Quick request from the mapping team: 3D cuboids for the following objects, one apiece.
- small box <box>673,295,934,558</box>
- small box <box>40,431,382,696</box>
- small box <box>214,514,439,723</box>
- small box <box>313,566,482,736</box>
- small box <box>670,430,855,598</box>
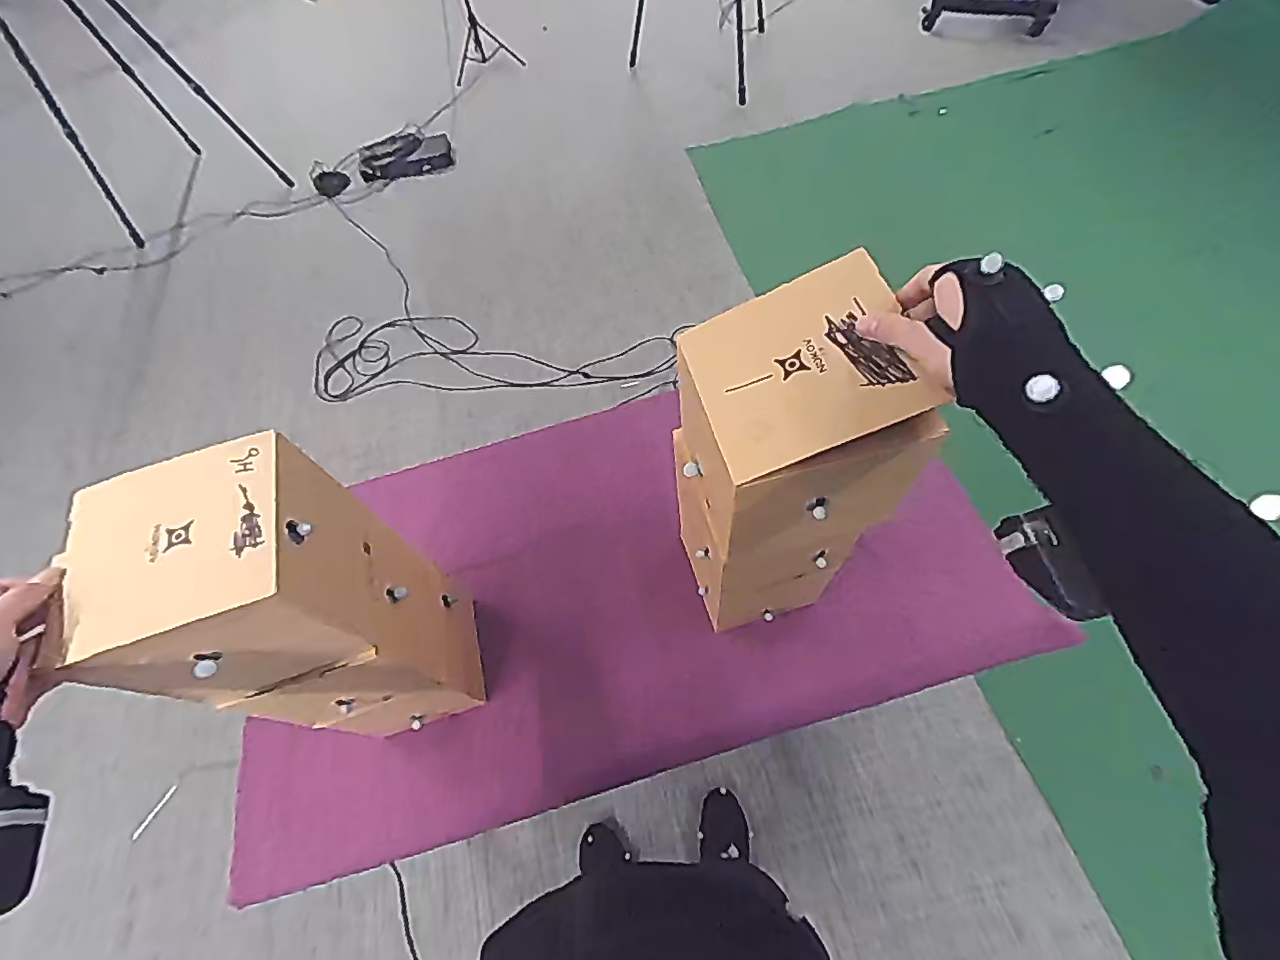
[{"bbox_3d":[0.137,-0.043,0.526,0.179,0.176,0.168,-15,60,-1],"label":"small box"},{"bbox_3d":[-0.375,0.088,0.511,0.179,0.176,0.168,-19,60,-4],"label":"small box"},{"bbox_3d":[-0.360,0.172,0.651,0.168,0.176,0.179,-17,60,-5],"label":"small box"},{"bbox_3d":[-0.345,0.255,0.790,0.168,0.176,0.179,-17,60,-3],"label":"small box"},{"bbox_3d":[0.143,0.032,0.671,0.168,0.176,0.179,-17,59,-3],"label":"small box"}]
